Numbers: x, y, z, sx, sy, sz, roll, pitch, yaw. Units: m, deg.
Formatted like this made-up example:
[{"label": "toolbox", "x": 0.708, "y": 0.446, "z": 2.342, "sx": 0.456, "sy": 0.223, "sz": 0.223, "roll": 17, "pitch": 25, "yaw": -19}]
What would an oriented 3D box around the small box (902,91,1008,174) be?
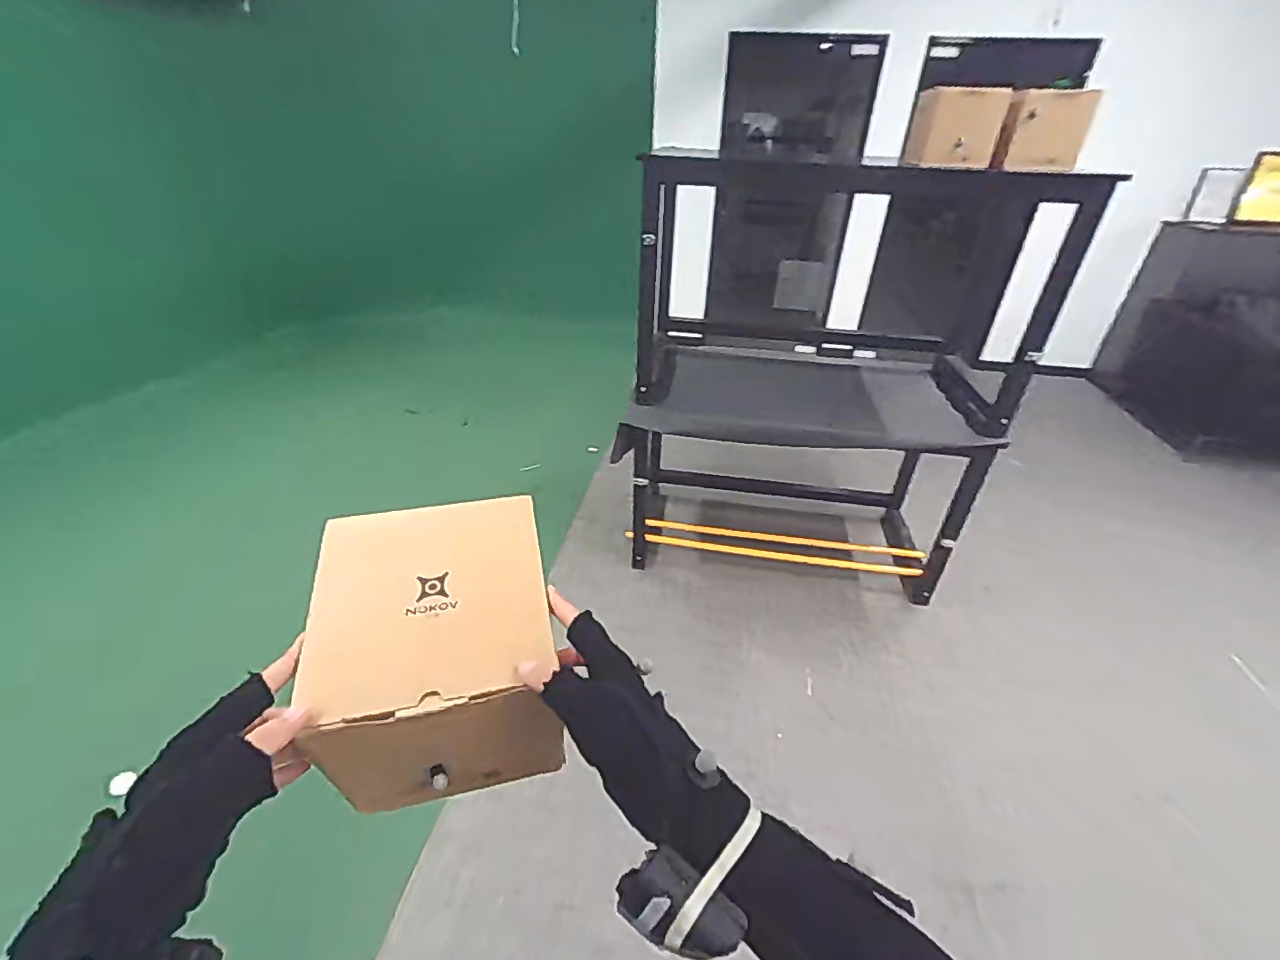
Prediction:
[{"label": "small box", "x": 0.812, "y": -0.907, "z": 1.418, "sx": 0.168, "sy": 0.176, "sz": 0.179, "roll": 5, "pitch": 33, "yaw": 6}]
